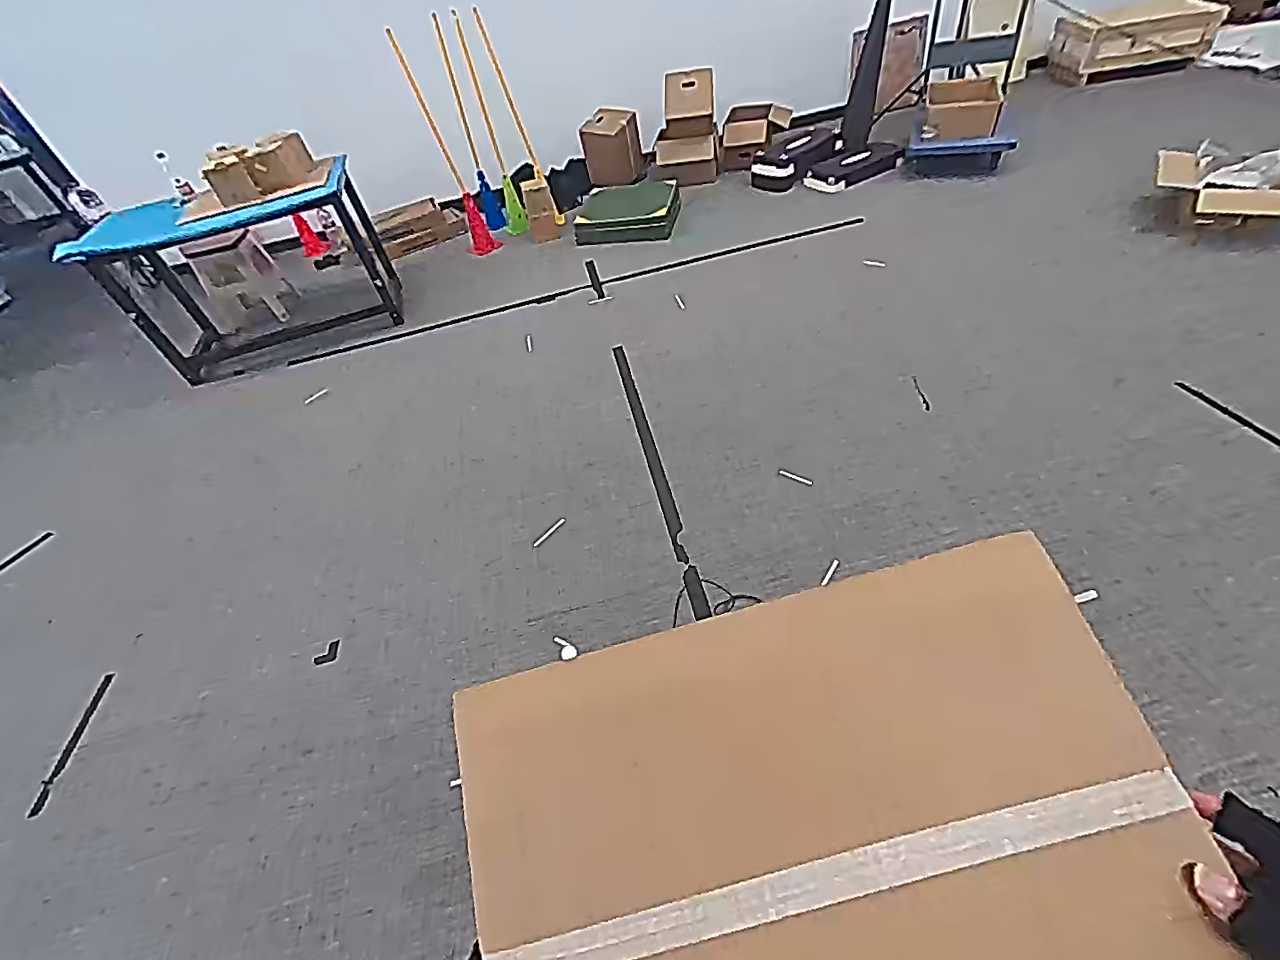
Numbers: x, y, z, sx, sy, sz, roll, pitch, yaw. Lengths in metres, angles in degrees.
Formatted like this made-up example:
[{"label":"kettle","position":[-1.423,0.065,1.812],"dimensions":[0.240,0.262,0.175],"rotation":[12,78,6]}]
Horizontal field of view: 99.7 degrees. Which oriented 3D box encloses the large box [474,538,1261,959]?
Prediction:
[{"label":"large box","position":[0.129,0.286,0.453],"dimensions":[0.408,0.320,0.320],"rotation":[-17,68,2]}]
